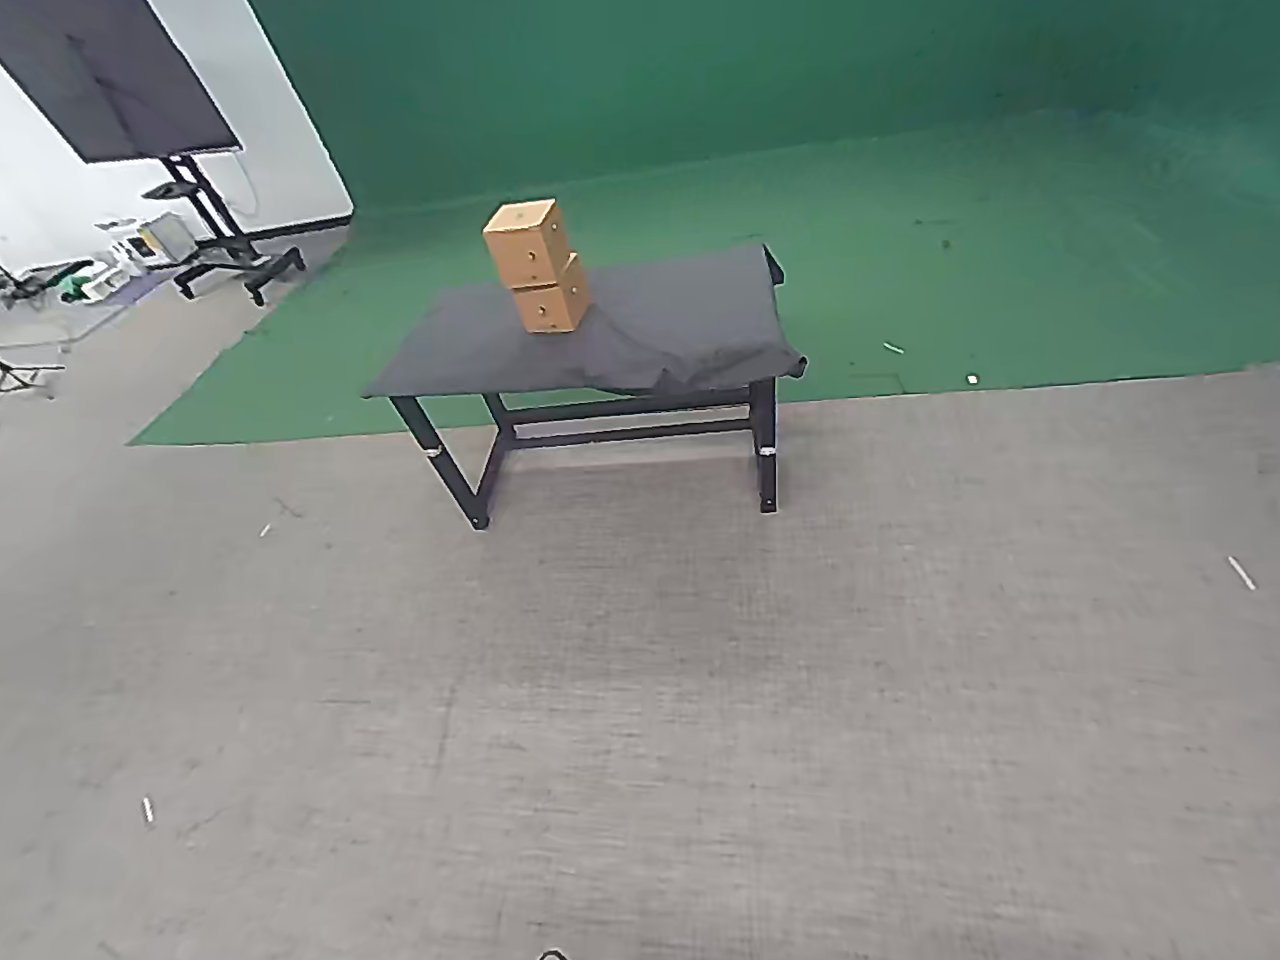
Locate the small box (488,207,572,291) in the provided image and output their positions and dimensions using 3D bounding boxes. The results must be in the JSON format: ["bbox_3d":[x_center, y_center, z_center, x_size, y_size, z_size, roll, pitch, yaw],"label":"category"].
[{"bbox_3d":[-0.305,-0.656,1.550,0.168,0.176,0.179,0,47,13],"label":"small box"}]

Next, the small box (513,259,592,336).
[{"bbox_3d":[-0.262,-0.563,1.679,0.168,0.176,0.179,4,49,17],"label":"small box"}]
